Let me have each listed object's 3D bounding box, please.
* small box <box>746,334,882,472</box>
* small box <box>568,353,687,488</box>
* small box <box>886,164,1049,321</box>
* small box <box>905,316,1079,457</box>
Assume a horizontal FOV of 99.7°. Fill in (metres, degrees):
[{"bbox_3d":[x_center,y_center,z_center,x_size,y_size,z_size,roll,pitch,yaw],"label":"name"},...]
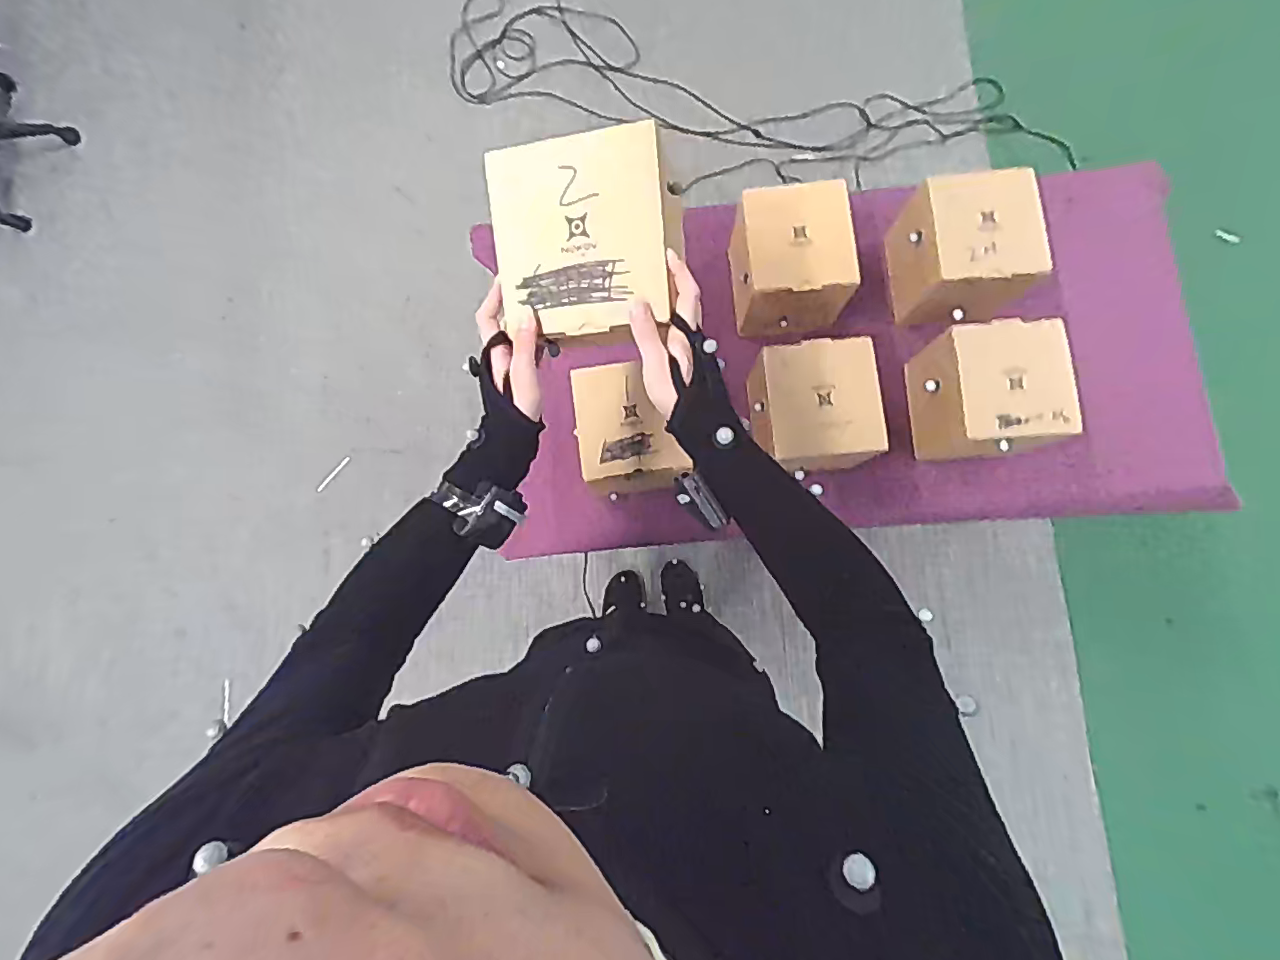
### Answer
[{"bbox_3d":[0.270,-0.117,0.879,0.168,0.176,0.179,-4,82,3],"label":"small box"},{"bbox_3d":[-0.015,-0.085,0.887,0.168,0.176,0.179,-8,79,2],"label":"small box"},{"bbox_3d":[0.529,-0.386,0.900,0.168,0.176,0.179,-4,82,3],"label":"small box"},{"bbox_3d":[0.545,-0.141,0.865,0.168,0.176,0.179,-3,81,3],"label":"small box"}]
